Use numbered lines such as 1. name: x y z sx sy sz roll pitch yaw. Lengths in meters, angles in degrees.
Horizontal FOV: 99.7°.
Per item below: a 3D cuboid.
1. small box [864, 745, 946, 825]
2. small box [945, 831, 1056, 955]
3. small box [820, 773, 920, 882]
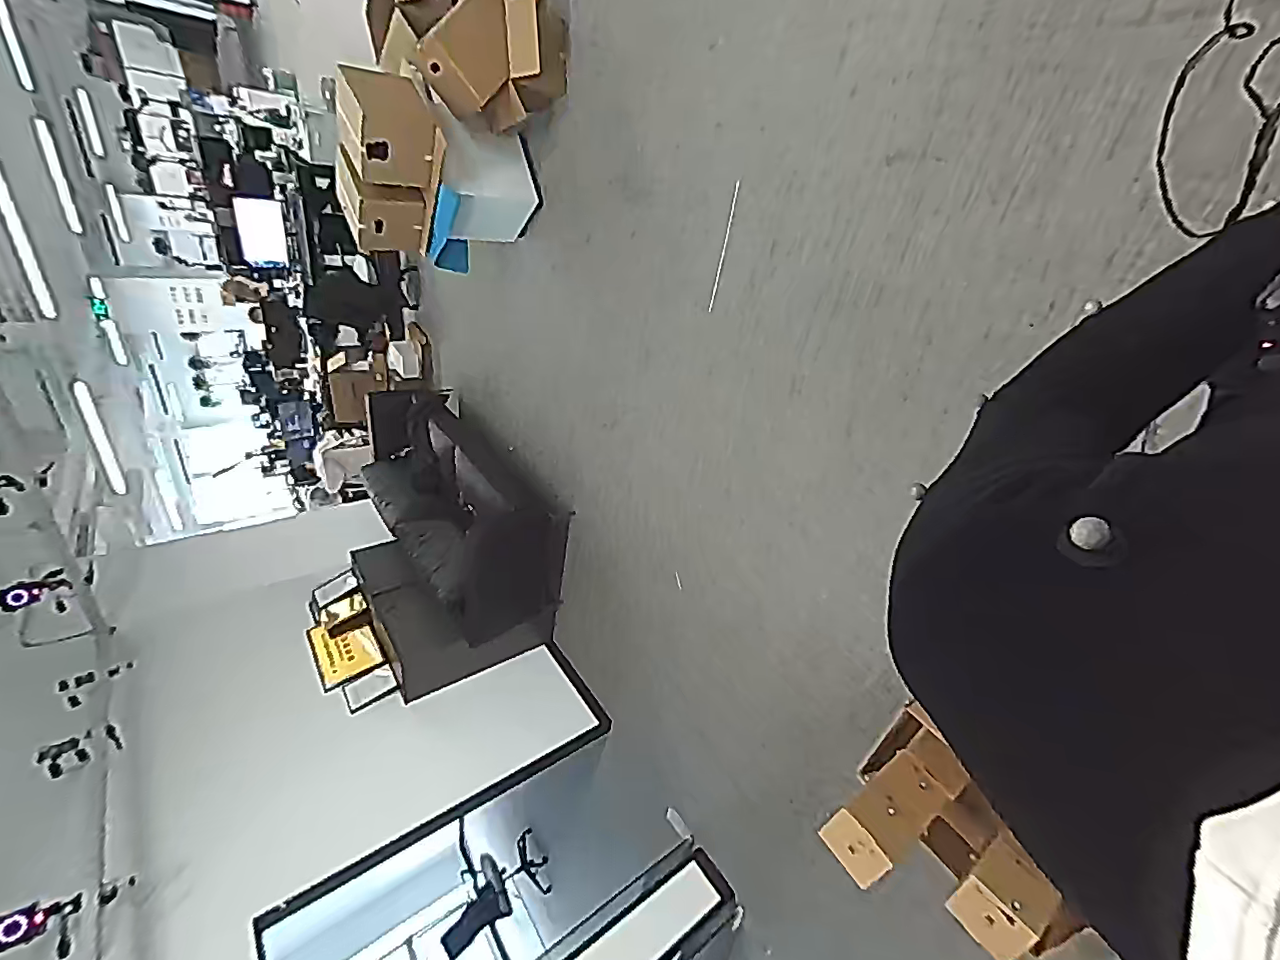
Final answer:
1. small box: 0.779 0.943 1.626 0.168 0.176 0.179 45 133 35
2. small box: 0.960 1.091 1.438 0.168 0.176 0.179 38 131 39
3. small box: 0.651 0.975 1.527 0.168 0.176 0.179 45 133 34
